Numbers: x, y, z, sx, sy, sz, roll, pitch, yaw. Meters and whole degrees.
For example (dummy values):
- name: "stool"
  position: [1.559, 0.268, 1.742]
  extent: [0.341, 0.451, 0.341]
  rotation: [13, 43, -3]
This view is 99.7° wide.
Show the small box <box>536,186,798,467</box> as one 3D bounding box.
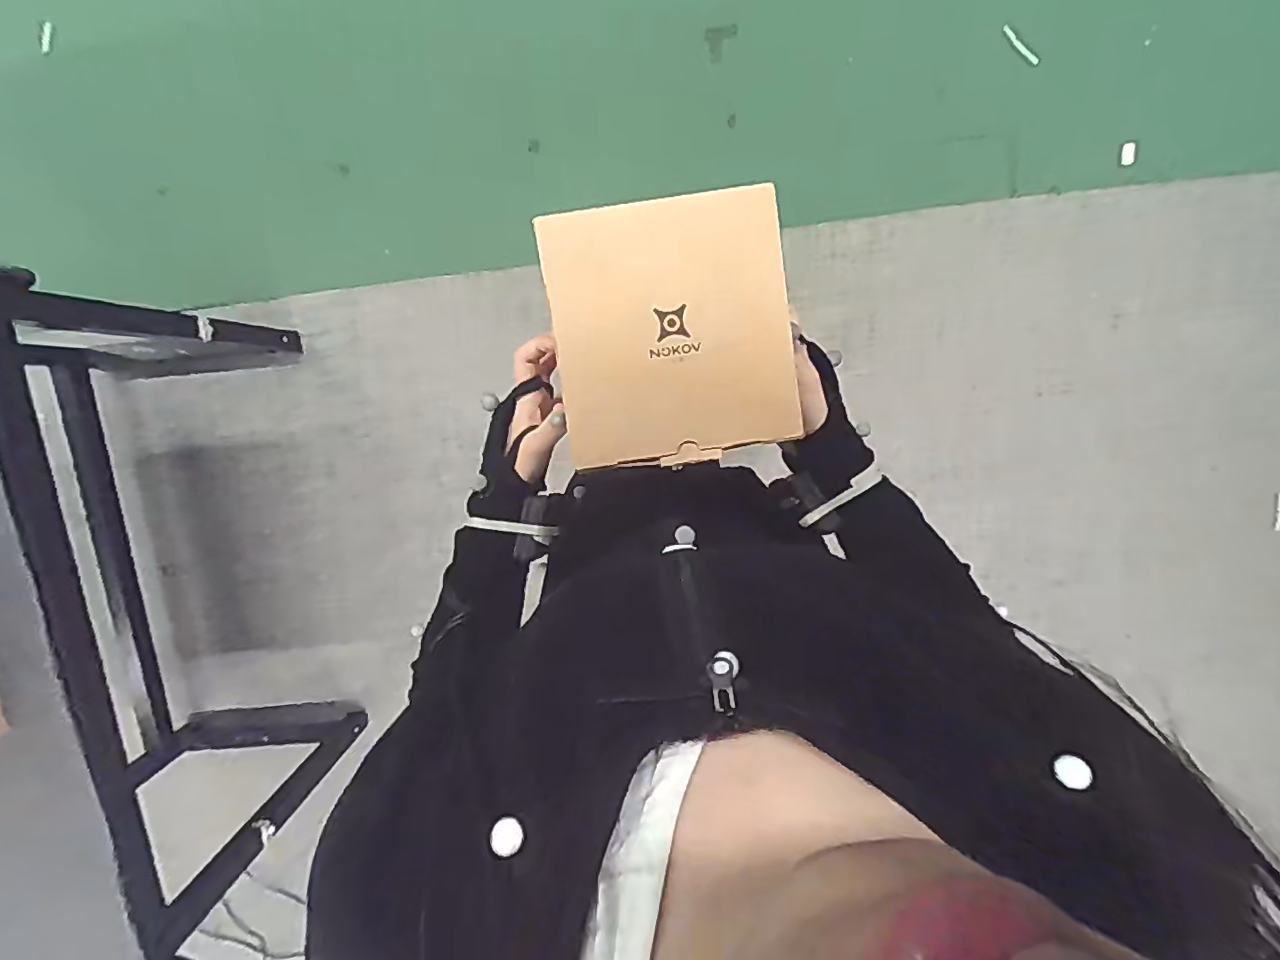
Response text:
- name: "small box"
  position: [0.017, -0.113, 0.456]
  extent: [0.168, 0.176, 0.179]
  rotation: [-10, 97, -1]
